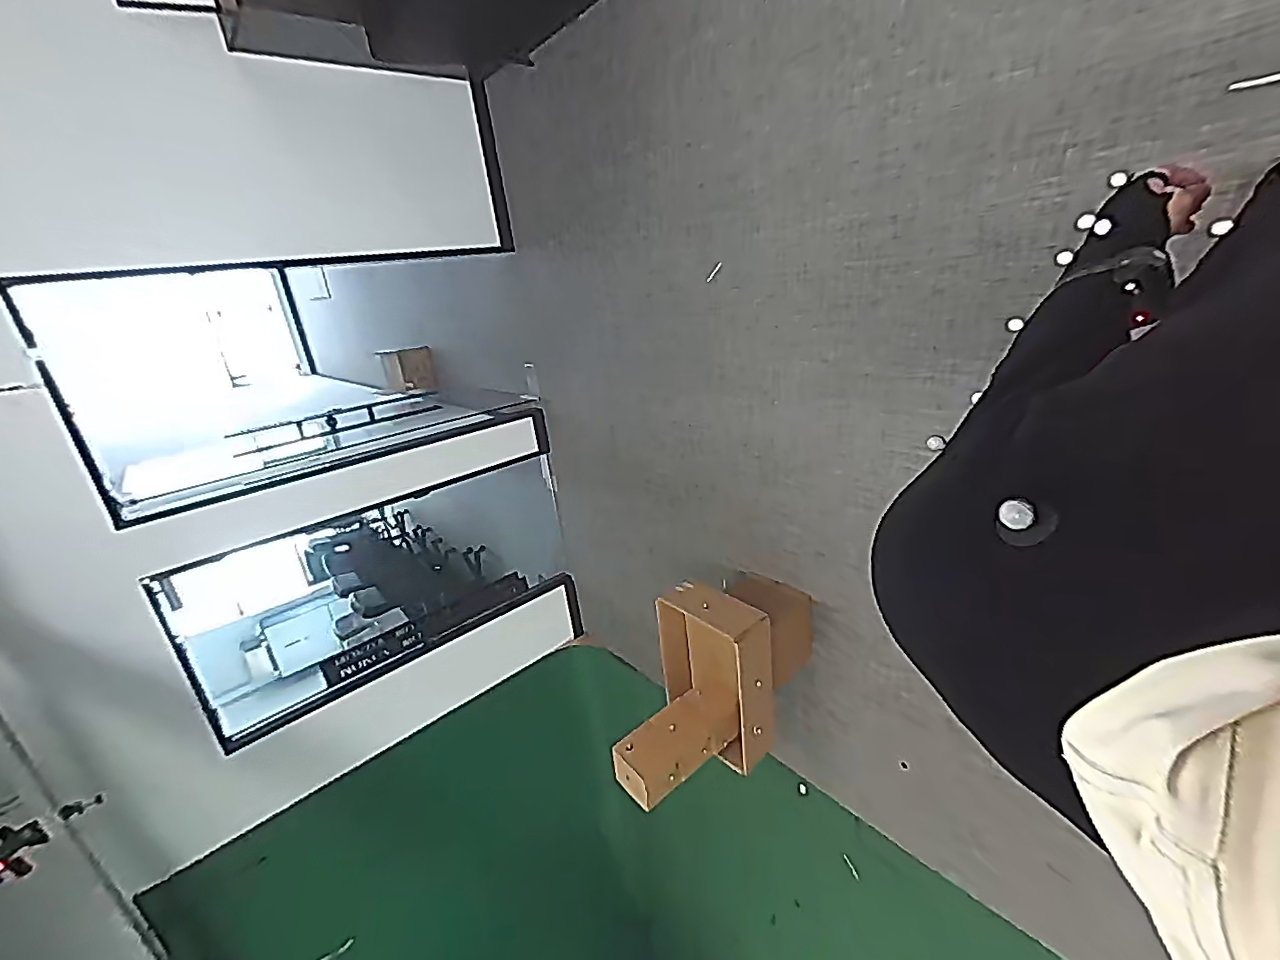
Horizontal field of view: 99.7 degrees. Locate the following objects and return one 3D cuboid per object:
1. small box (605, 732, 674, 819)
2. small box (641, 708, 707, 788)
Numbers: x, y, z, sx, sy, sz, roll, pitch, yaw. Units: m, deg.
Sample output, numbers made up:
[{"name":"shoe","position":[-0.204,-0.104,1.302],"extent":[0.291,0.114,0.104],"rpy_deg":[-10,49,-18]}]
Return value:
[{"name":"small box","position":[0.000,1.017,1.882],"extent":[0.179,0.176,0.168],"rpy_deg":[22,125,45]},{"name":"small box","position":[0.125,0.968,1.977],"extent":[0.179,0.176,0.168],"rpy_deg":[20,123,46]}]
